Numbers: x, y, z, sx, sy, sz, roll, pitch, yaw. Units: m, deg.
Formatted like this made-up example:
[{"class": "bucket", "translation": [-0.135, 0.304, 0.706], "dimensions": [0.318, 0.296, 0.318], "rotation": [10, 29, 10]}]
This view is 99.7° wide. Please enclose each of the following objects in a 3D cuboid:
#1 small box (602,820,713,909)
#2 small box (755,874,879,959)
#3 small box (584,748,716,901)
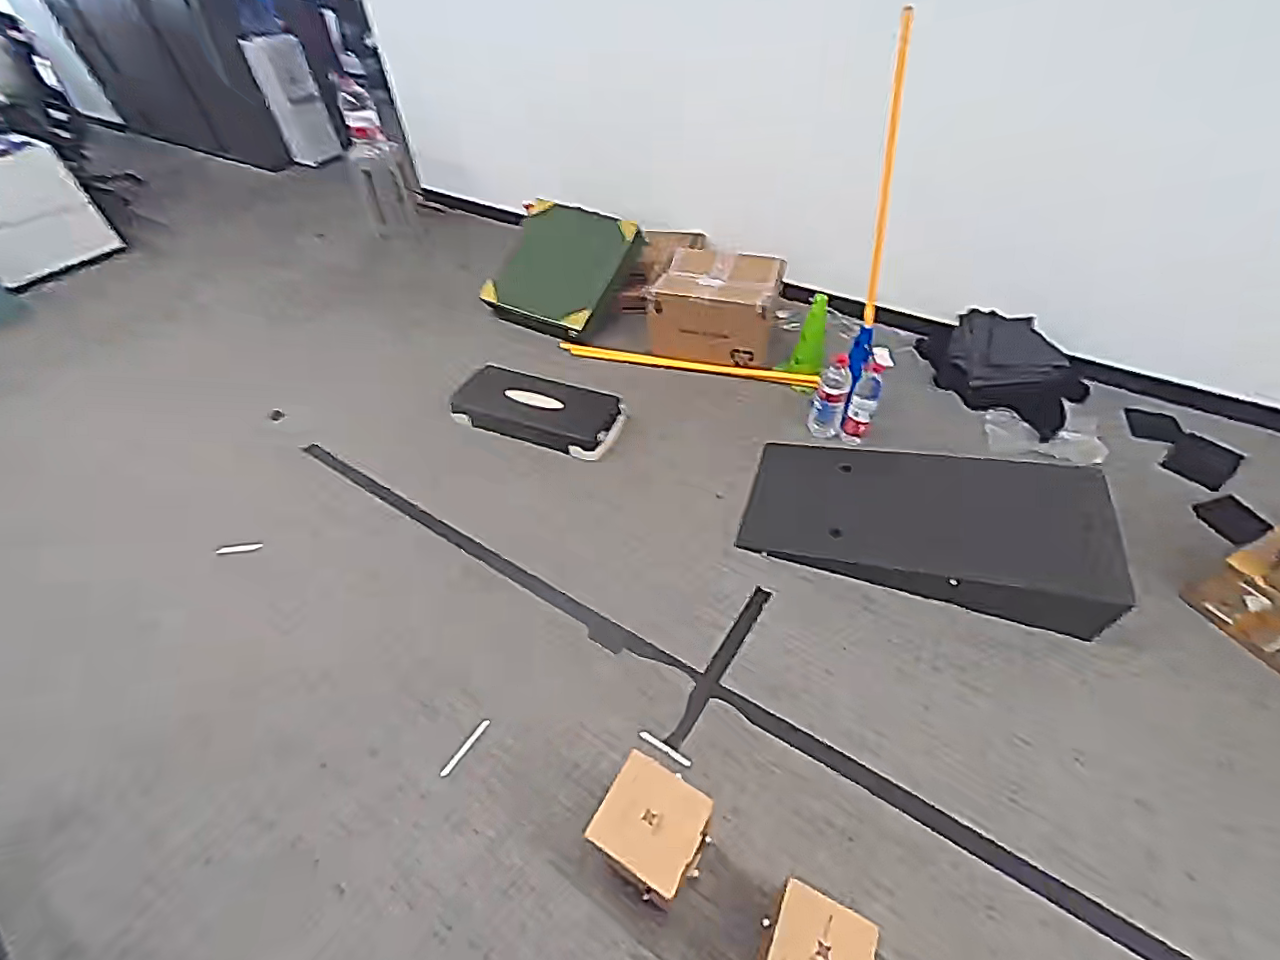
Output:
[{"class": "small box", "translation": [0.032, 0.742, 1.117], "dimensions": [0.179, 0.176, 0.168], "rotation": [26, 55, 23]}, {"class": "small box", "translation": [0.314, 0.871, 0.989], "dimensions": [0.168, 0.176, 0.179], "rotation": [20, 52, 19]}, {"class": "small box", "translation": [0.023, 0.635, 0.994], "dimensions": [0.179, 0.176, 0.168], "rotation": [24, 53, 23]}]
